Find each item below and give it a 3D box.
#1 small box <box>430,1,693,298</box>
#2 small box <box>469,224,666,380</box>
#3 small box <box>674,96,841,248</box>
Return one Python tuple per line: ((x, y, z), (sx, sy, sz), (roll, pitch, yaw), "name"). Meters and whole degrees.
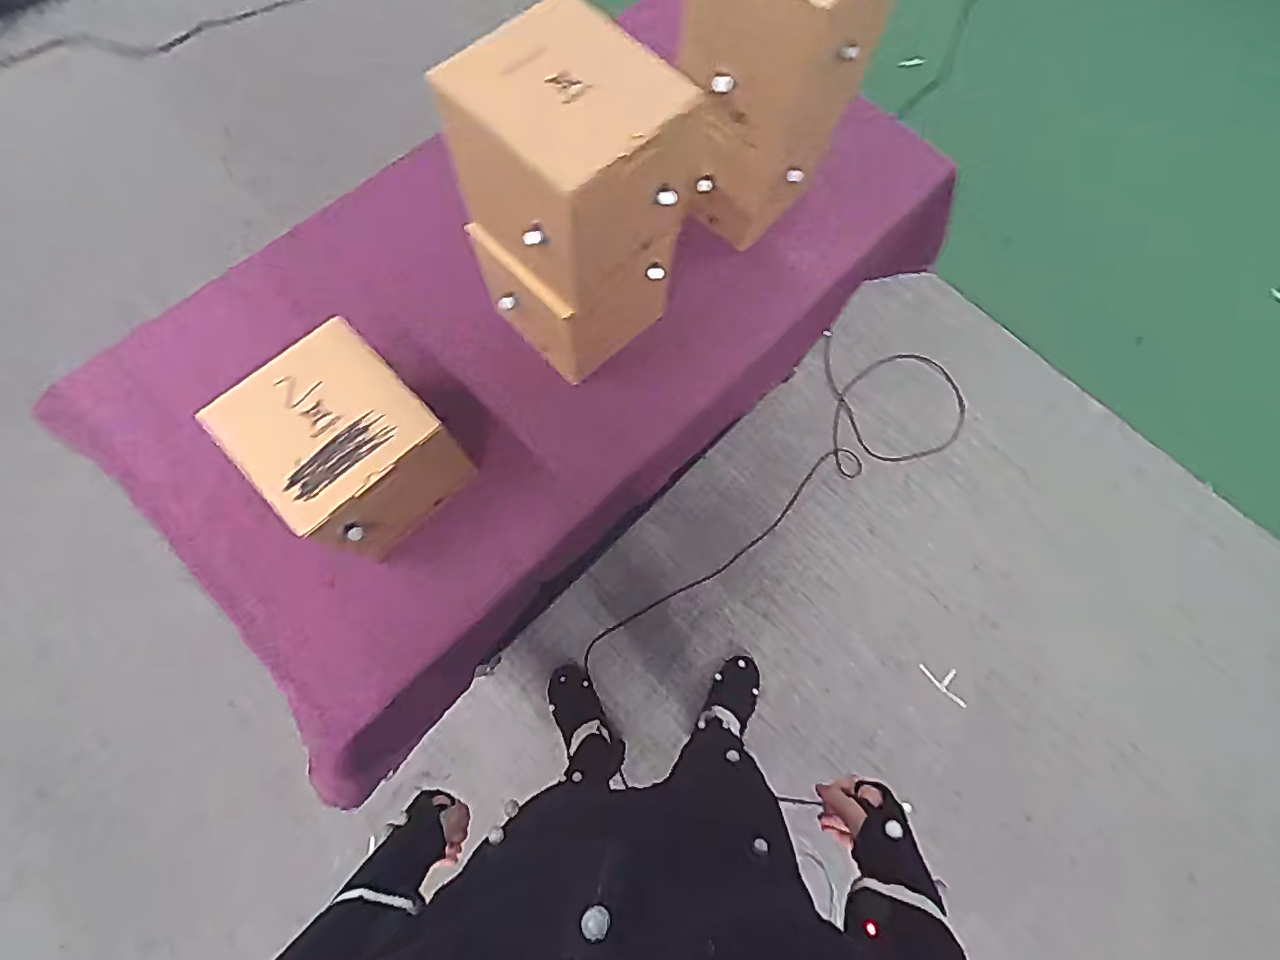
((-0.072, -0.316, 0.551), (0.179, 0.176, 0.168), (43, 74, 10), "small box")
((-0.086, -0.264, 0.705), (0.179, 0.176, 0.168), (-43, 80, -15), "small box")
((0.149, -0.479, 0.780), (0.168, 0.176, 0.179), (41, 76, 9), "small box")
